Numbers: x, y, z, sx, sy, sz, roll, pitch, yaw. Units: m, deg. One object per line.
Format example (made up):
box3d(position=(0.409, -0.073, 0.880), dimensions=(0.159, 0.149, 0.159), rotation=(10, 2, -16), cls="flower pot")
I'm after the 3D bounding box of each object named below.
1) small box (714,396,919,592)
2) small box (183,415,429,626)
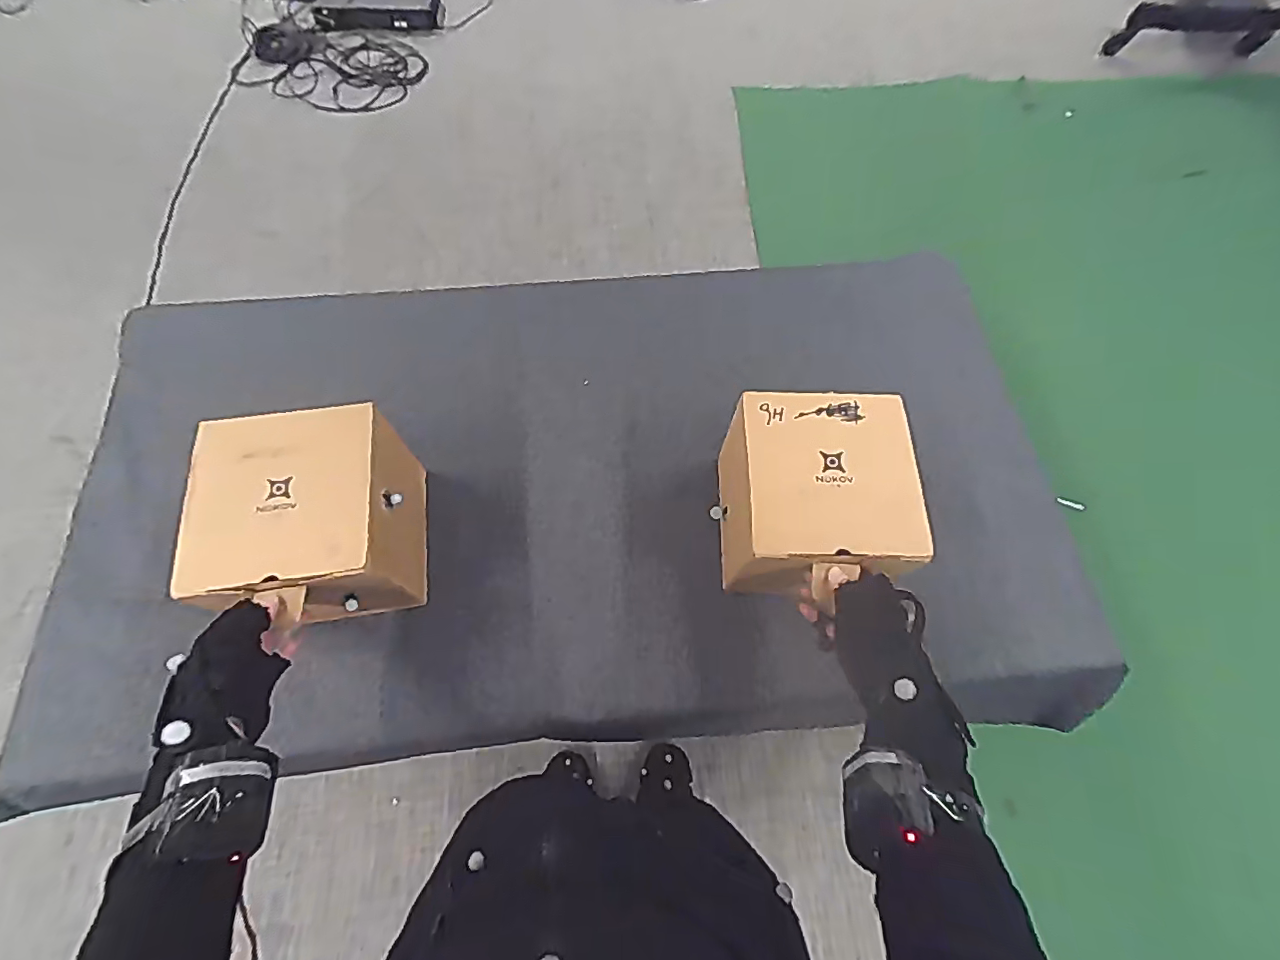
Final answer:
box3d(position=(0.178, 0.026, 0.602), dimensions=(0.168, 0.176, 0.179), rotation=(2, 68, -1), cls="small box")
box3d(position=(-0.338, 0.054, 0.587), dimensions=(0.168, 0.176, 0.179), rotation=(-8, 66, -6), cls="small box")
